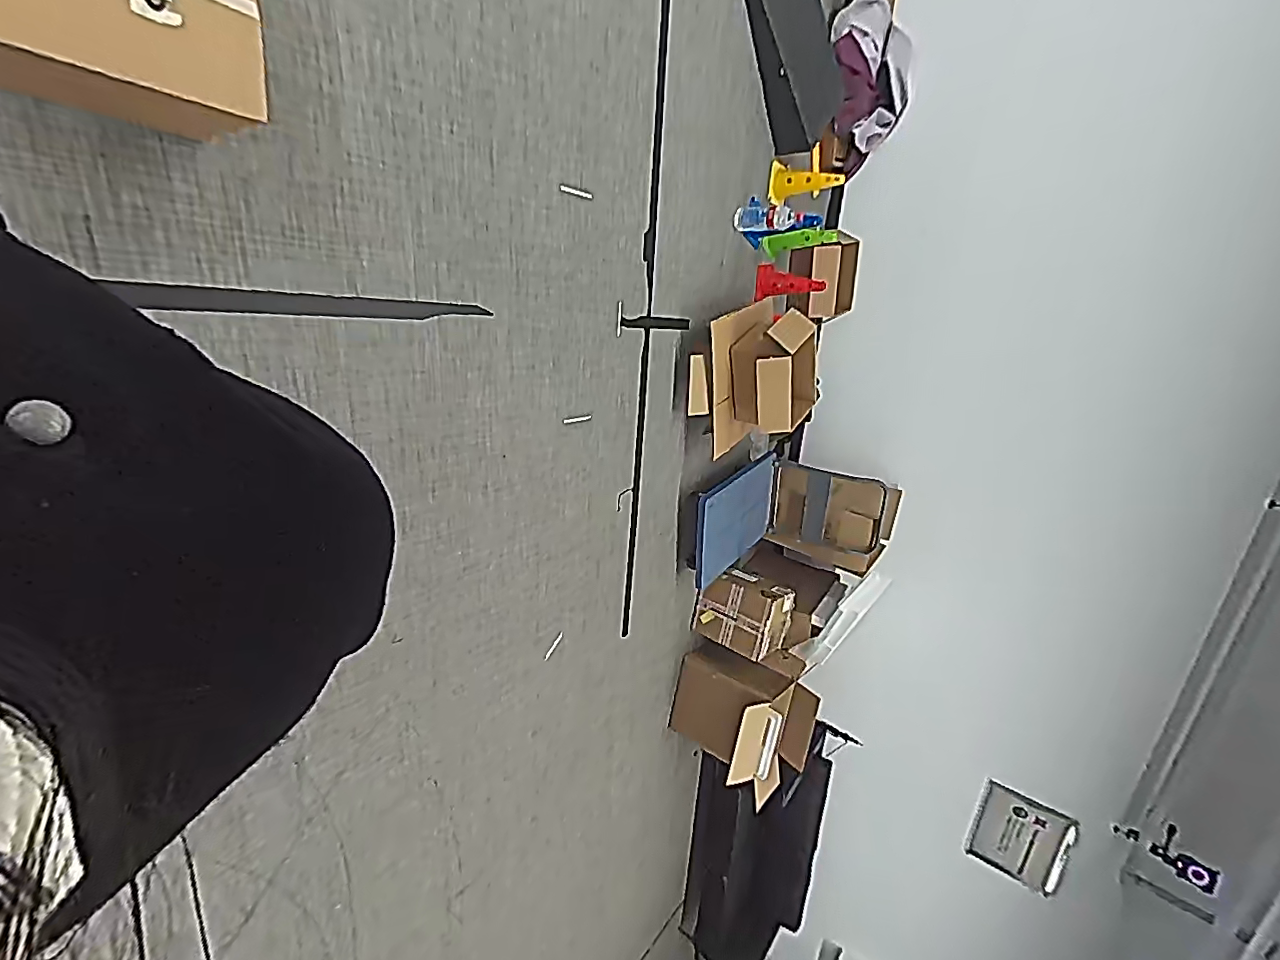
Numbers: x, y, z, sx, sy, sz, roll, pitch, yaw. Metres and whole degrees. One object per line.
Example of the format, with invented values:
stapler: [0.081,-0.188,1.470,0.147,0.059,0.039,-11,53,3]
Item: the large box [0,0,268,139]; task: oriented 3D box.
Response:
large box: [-0.858,-0.757,0.805,0.408,0.320,0.320,-16,117,-52]
